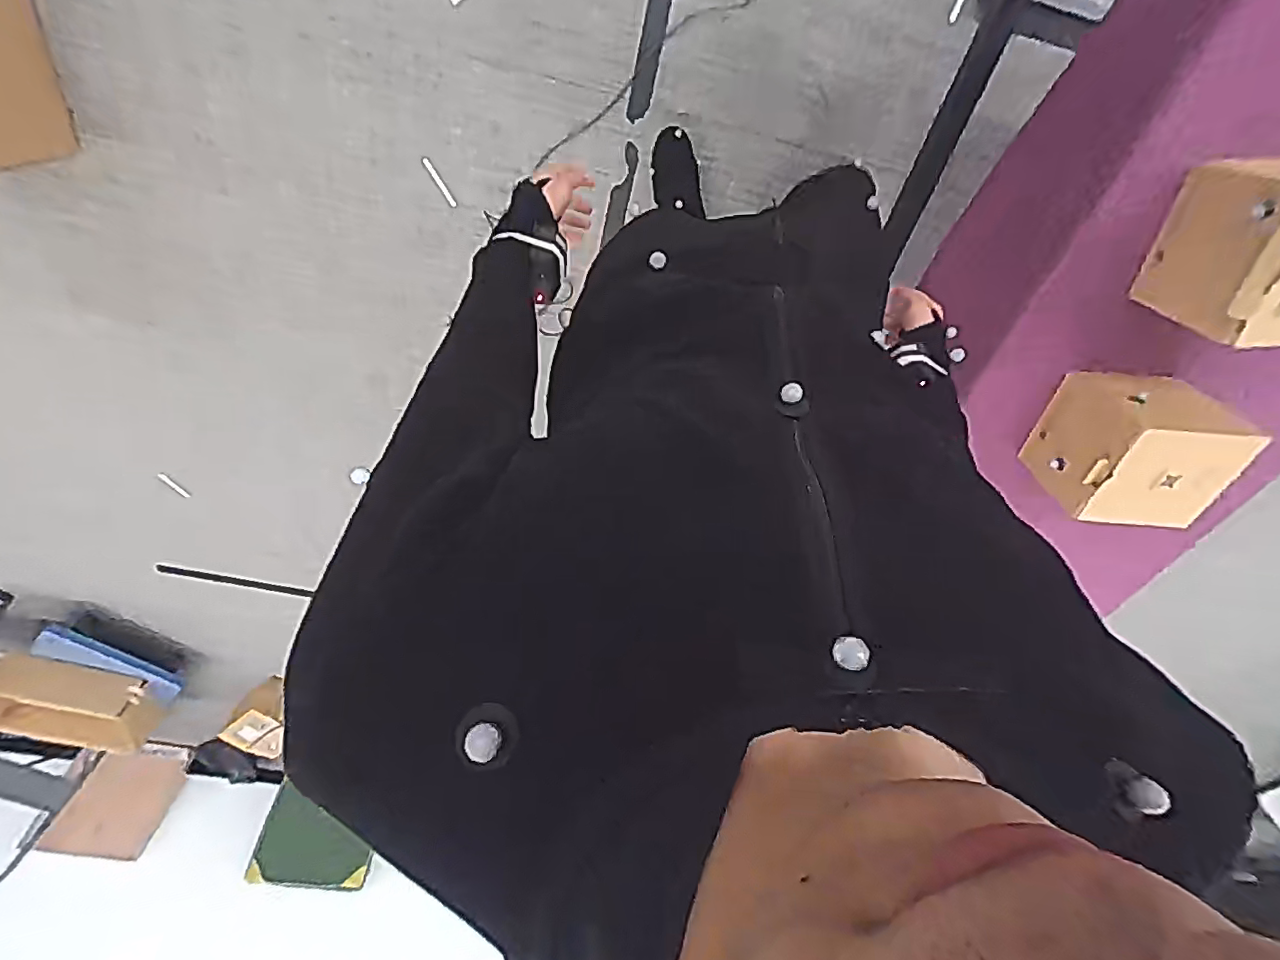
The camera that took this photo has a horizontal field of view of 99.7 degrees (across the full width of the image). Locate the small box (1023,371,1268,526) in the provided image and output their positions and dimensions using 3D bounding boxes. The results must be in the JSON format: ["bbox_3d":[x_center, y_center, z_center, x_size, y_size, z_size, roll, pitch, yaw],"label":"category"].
[{"bbox_3d":[0.738,-0.052,0.821,0.179,0.176,0.168,4,129,-2],"label":"small box"}]
